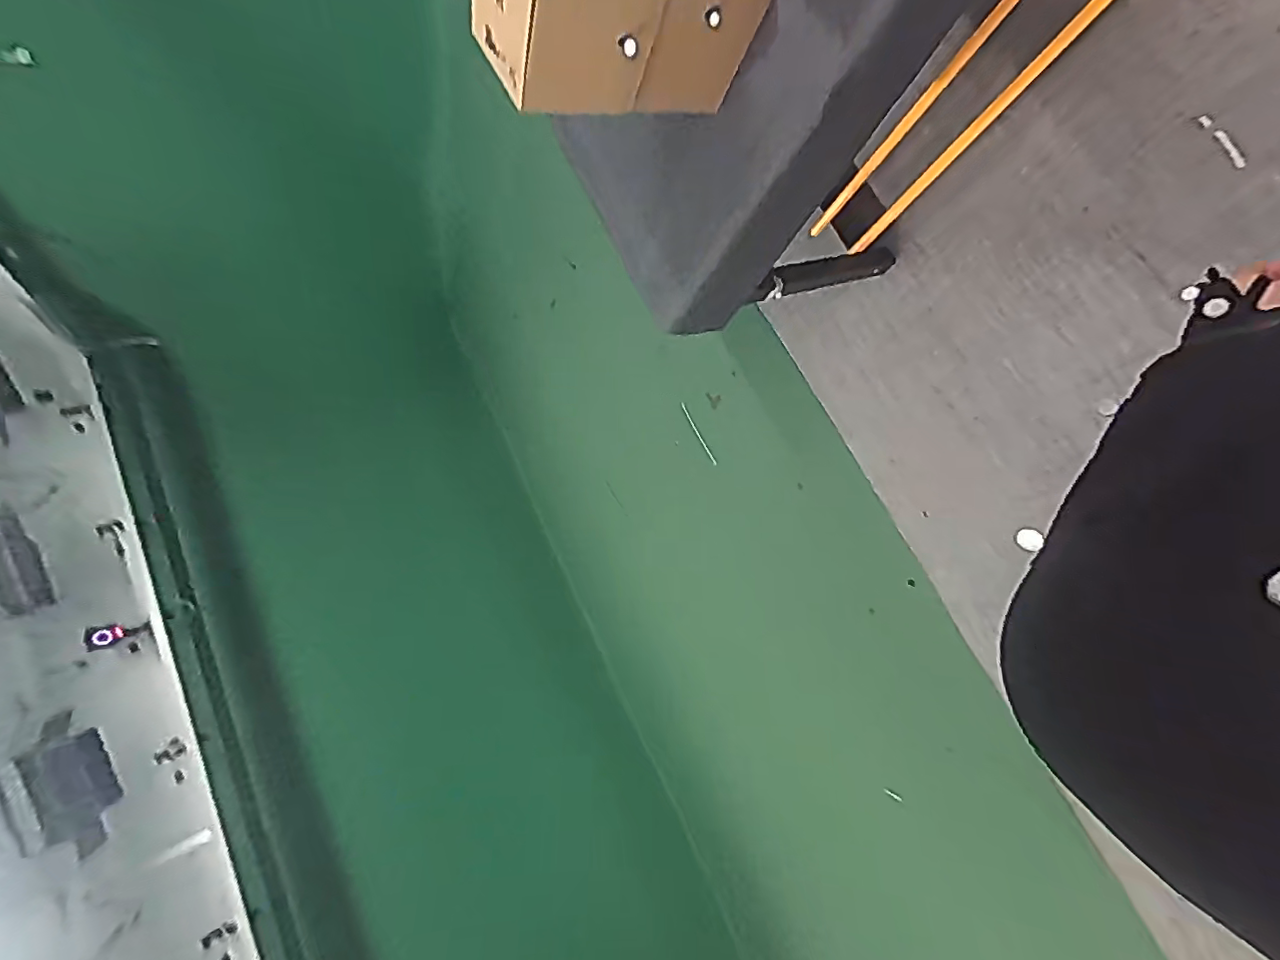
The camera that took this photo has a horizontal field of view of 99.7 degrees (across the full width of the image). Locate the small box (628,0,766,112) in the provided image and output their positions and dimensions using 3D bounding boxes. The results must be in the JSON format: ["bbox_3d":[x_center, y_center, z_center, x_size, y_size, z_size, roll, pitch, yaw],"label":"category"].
[{"bbox_3d":[0.046,-0.642,0.736,0.168,0.176,0.179,64,151,13],"label":"small box"}]

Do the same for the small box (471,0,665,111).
[{"bbox_3d":[-0.088,-0.587,0.656,0.168,0.176,0.179,62,150,16],"label":"small box"}]
